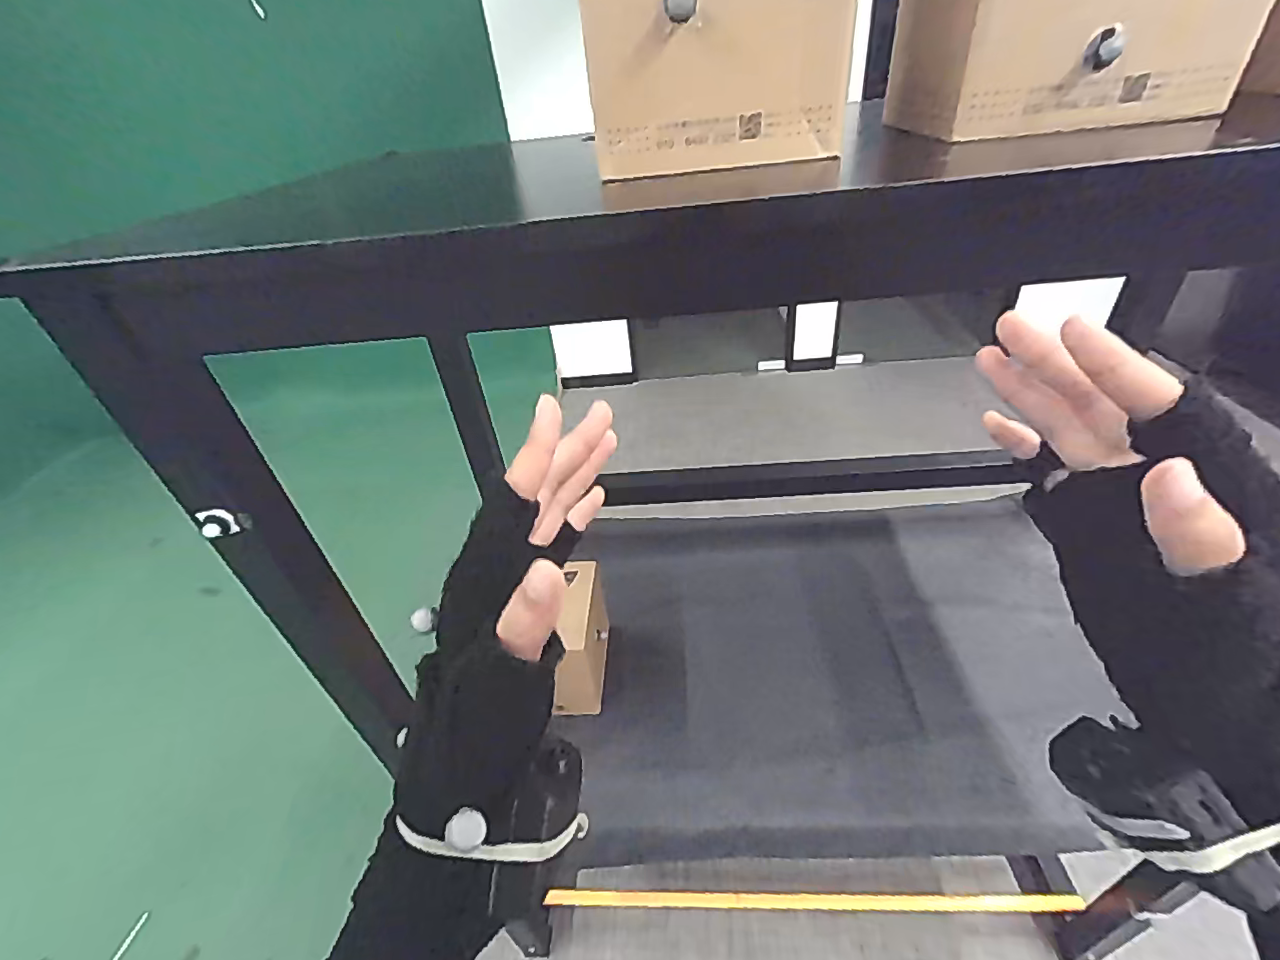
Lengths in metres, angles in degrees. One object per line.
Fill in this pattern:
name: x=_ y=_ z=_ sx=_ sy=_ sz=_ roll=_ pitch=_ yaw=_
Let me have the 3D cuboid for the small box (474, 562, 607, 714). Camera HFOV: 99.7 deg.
small box: x=-0.149 y=0.254 z=0.881 sx=0.168 sy=0.176 sz=0.179 roll=-3 pitch=37 yaw=5

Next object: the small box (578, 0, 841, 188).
small box: x=0.049 y=-0.326 z=0.406 sx=0.168 sy=0.176 sz=0.179 roll=-3 pitch=36 yaw=5

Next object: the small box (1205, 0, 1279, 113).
small box: x=0.532 y=-0.336 z=0.335 sx=0.168 sy=0.176 sz=0.179 roll=4 pitch=37 yaw=14
